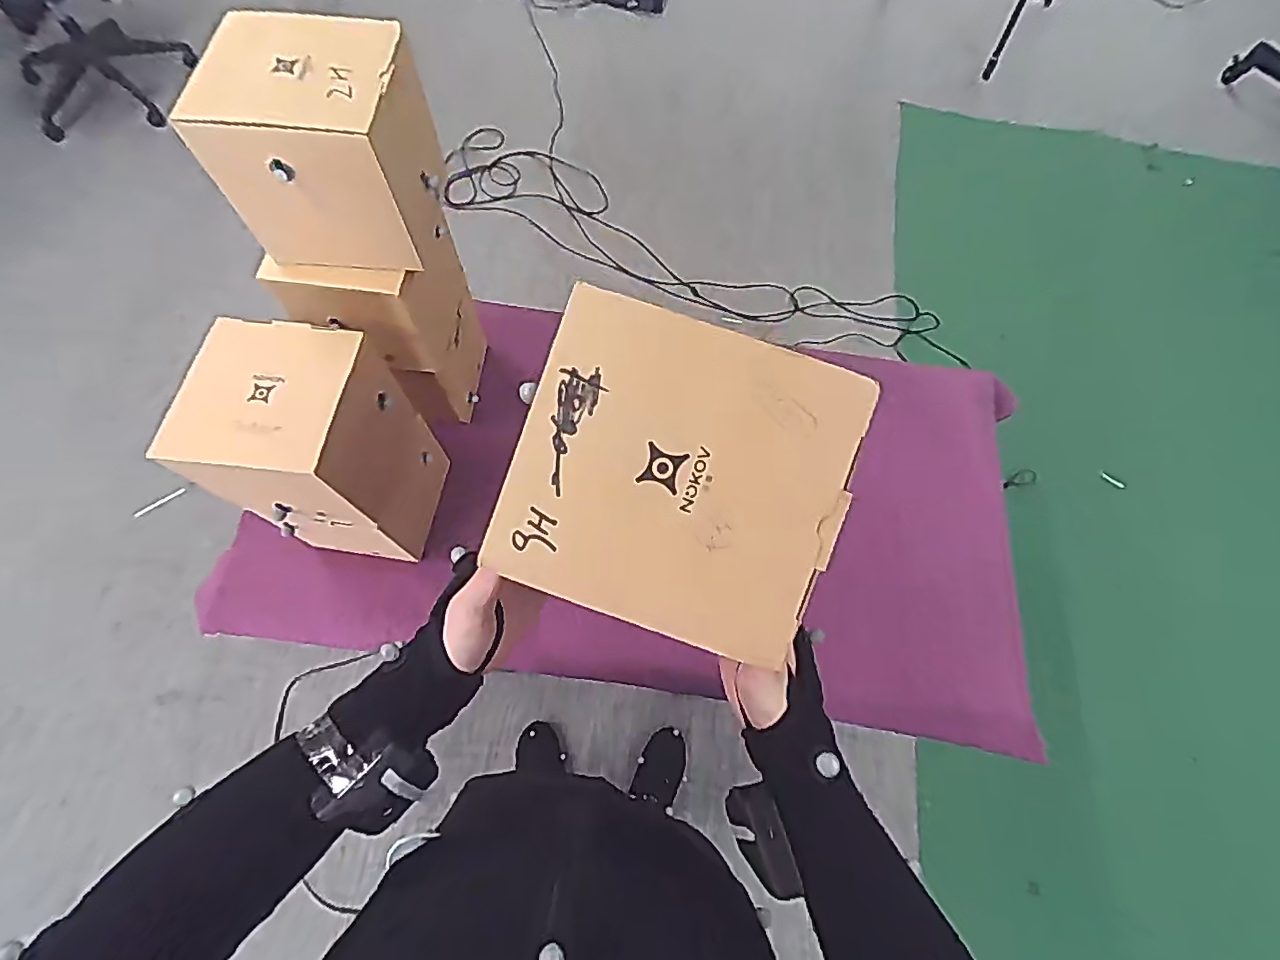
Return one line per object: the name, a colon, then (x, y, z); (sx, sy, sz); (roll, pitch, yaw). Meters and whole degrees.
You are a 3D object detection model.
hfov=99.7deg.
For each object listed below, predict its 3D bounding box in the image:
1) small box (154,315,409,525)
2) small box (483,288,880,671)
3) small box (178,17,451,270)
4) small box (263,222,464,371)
small box: (-0.394, -0.062, 0.638); (0.168, 0.176, 0.179); (7, 67, -1)
small box: (0.023, 0.000, 0.372); (0.179, 0.176, 0.168); (20, 89, 1)
small box: (-0.326, -0.352, 0.586); (0.179, 0.176, 0.168); (3, 67, -3)
small box: (-0.350, -0.267, 0.727); (0.168, 0.176, 0.179); (6, 67, -1)
